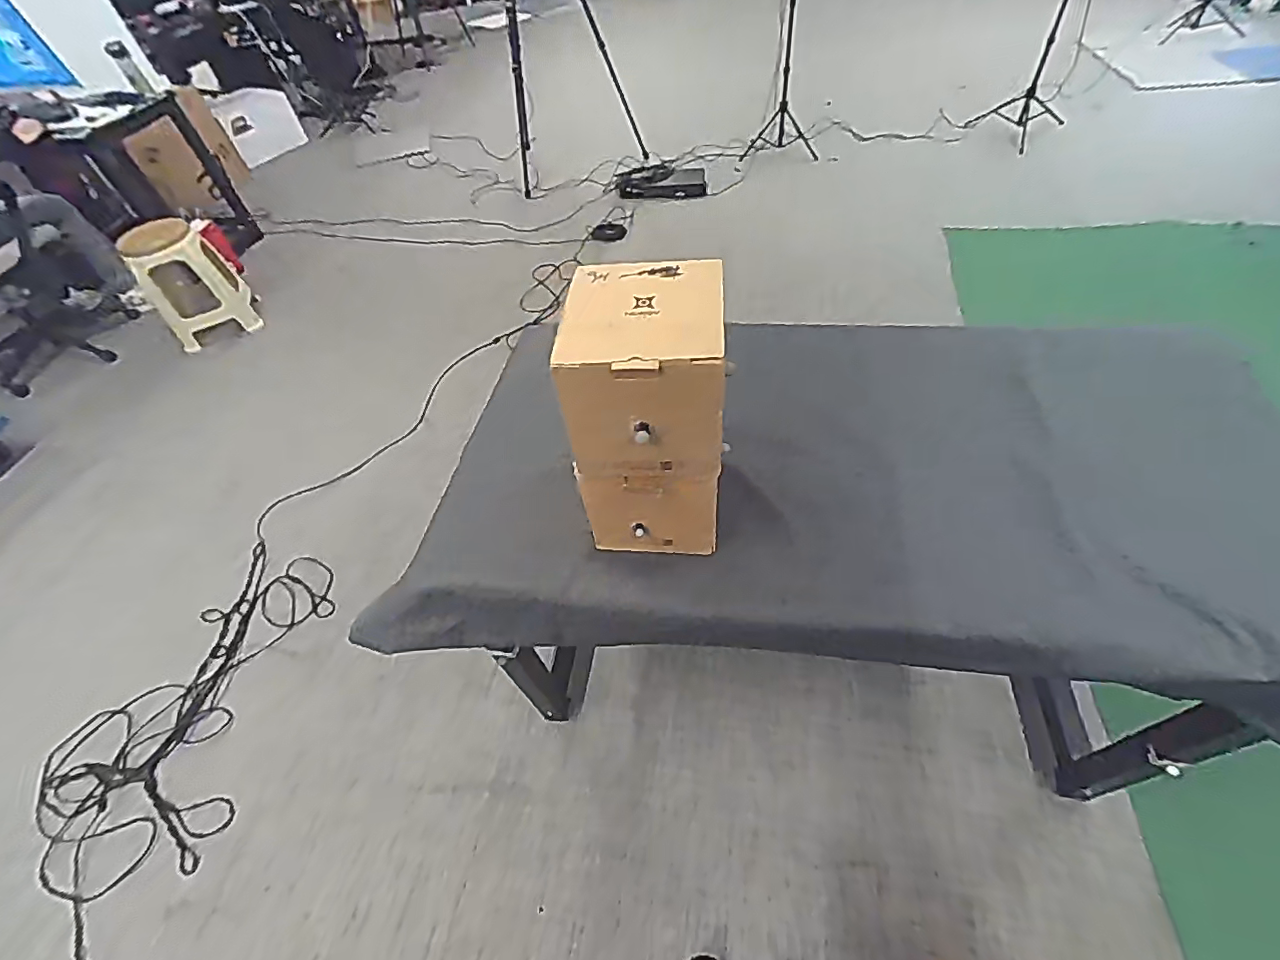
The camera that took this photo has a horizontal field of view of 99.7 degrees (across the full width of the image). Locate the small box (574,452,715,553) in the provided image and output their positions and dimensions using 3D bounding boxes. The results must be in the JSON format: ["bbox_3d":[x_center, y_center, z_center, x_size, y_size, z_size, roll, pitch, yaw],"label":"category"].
[{"bbox_3d":[0.018,-0.023,0.733,0.168,0.176,0.179,1,52,8],"label":"small box"}]

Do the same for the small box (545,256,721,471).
[{"bbox_3d":[0.007,-0.123,0.605,0.168,0.176,0.179,0,52,7],"label":"small box"}]
